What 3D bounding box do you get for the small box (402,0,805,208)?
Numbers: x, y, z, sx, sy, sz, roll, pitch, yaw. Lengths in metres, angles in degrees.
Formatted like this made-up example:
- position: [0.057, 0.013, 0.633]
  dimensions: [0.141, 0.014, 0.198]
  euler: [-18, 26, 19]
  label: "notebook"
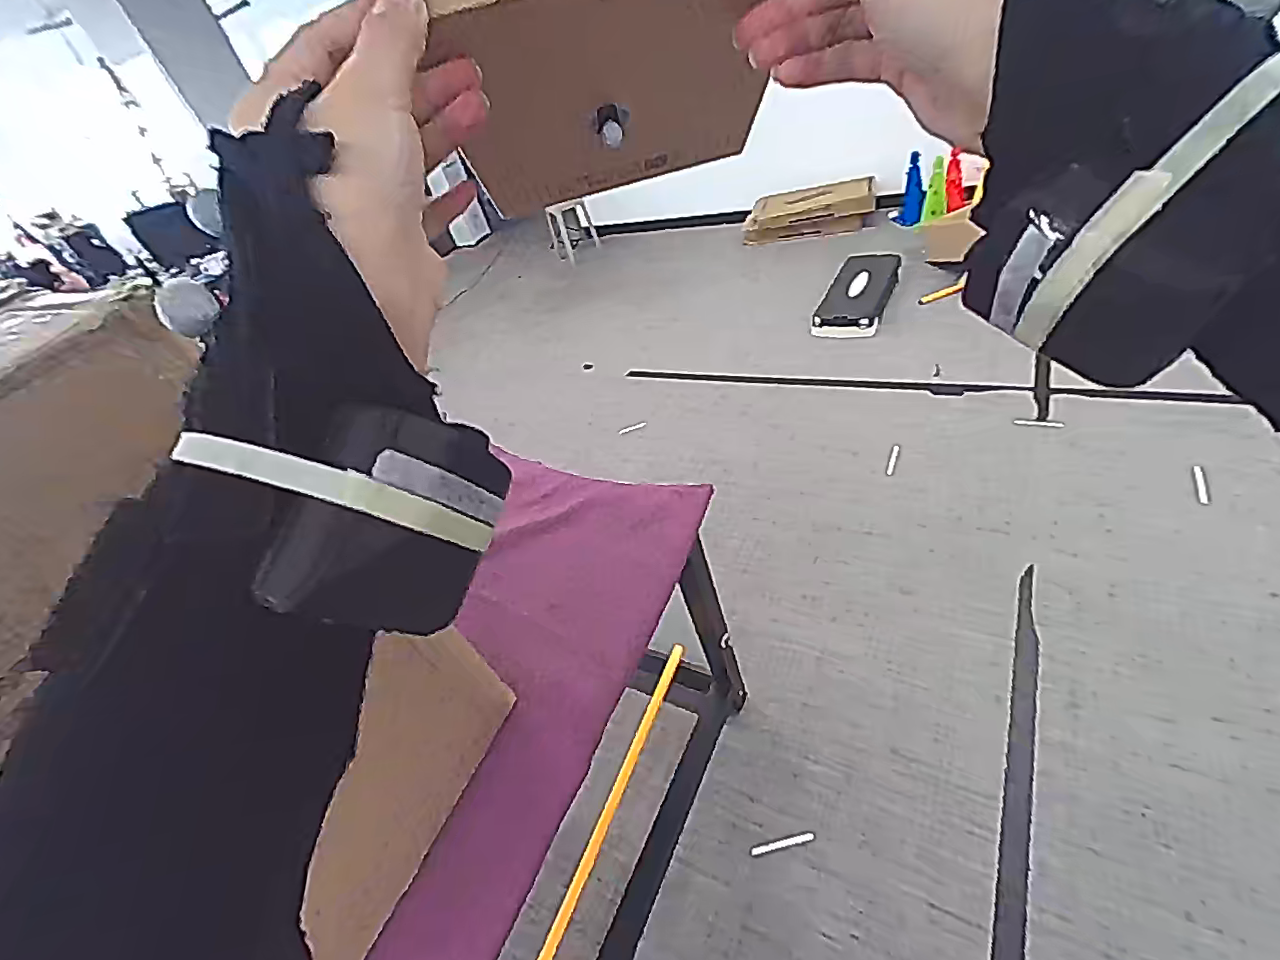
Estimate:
- position: [-0.023, -0.262, 0.270]
  dimensions: [0.168, 0.179, 0.176]
  euler: [-14, 4, 0]
  label: "small box"
